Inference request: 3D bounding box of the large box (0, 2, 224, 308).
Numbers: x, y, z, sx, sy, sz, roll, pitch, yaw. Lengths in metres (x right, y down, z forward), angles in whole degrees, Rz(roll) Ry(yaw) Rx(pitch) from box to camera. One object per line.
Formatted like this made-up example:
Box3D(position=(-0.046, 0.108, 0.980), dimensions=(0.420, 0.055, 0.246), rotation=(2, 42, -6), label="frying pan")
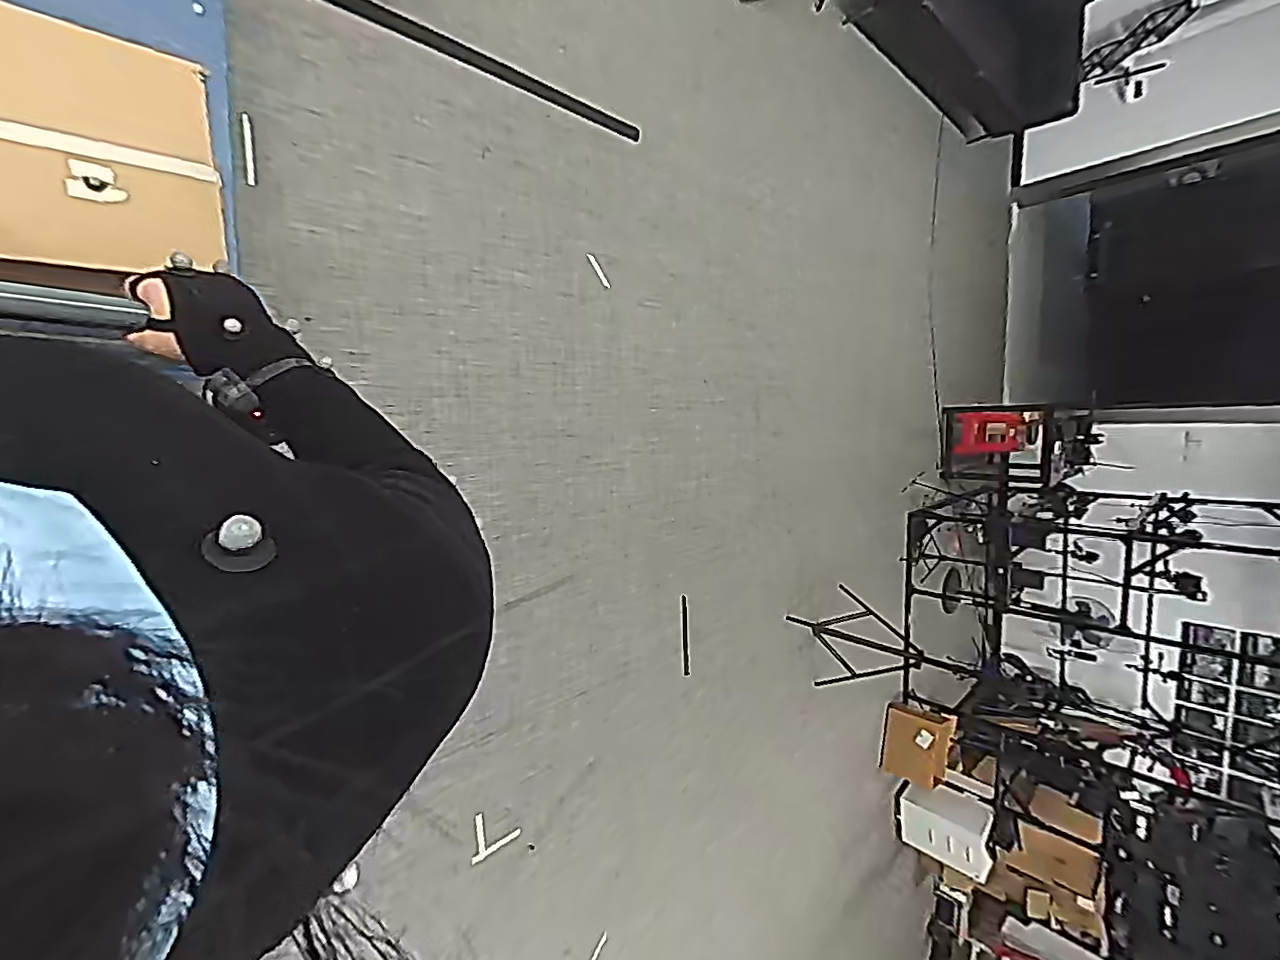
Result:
Box3D(position=(-0.900, -0.449, 0.788), dimensions=(0.408, 0.320, 0.320), rotation=(-9, 100, -45), label="large box")
